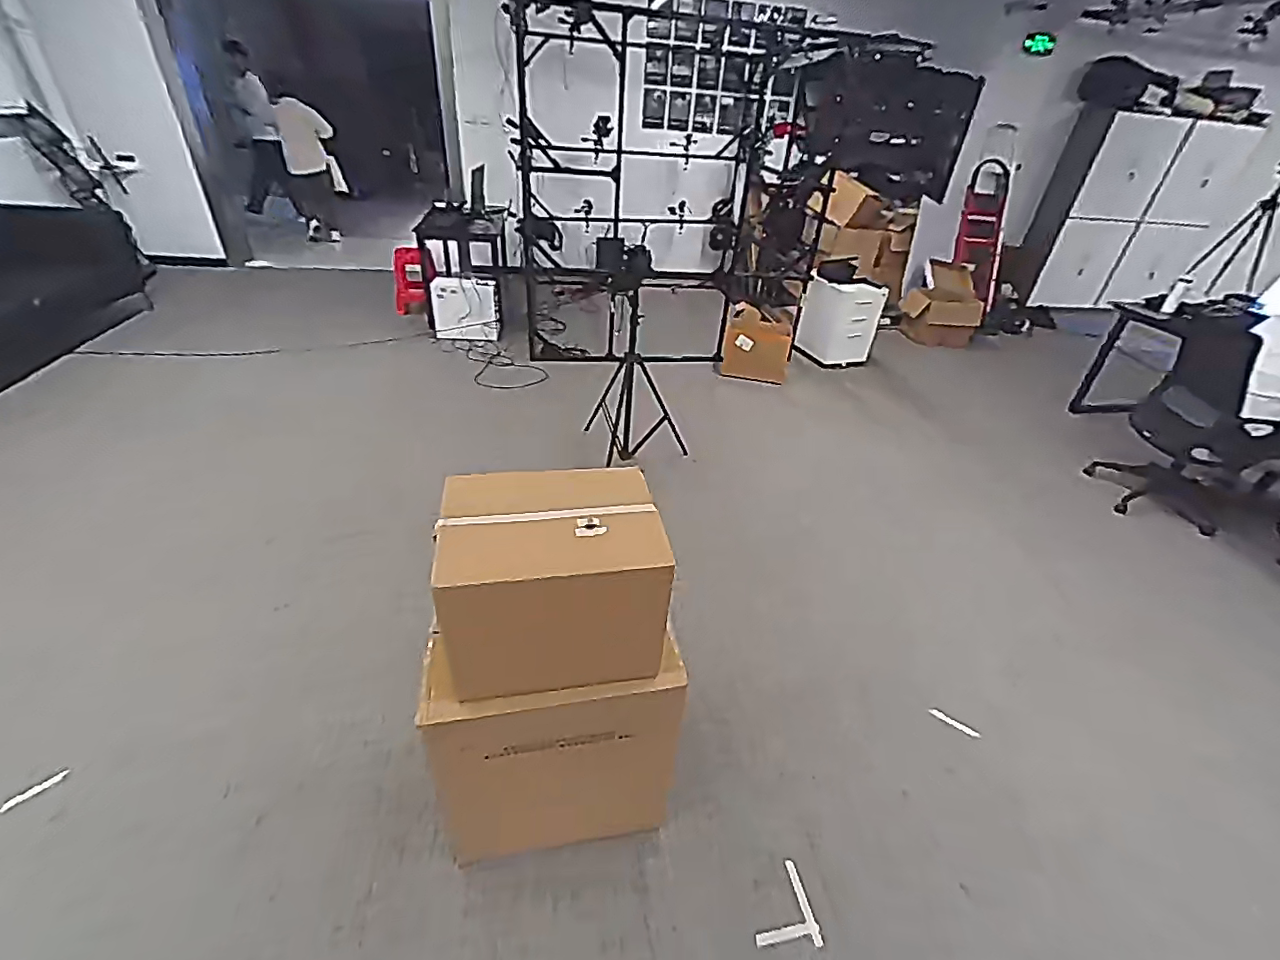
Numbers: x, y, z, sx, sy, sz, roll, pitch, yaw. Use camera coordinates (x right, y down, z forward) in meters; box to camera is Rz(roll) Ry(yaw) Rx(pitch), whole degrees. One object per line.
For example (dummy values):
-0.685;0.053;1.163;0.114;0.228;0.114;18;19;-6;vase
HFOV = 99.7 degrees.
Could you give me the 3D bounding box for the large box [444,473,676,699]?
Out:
-0.171;0.205;1.114;0.408;0.320;0.320;-3;35;-13;large box
